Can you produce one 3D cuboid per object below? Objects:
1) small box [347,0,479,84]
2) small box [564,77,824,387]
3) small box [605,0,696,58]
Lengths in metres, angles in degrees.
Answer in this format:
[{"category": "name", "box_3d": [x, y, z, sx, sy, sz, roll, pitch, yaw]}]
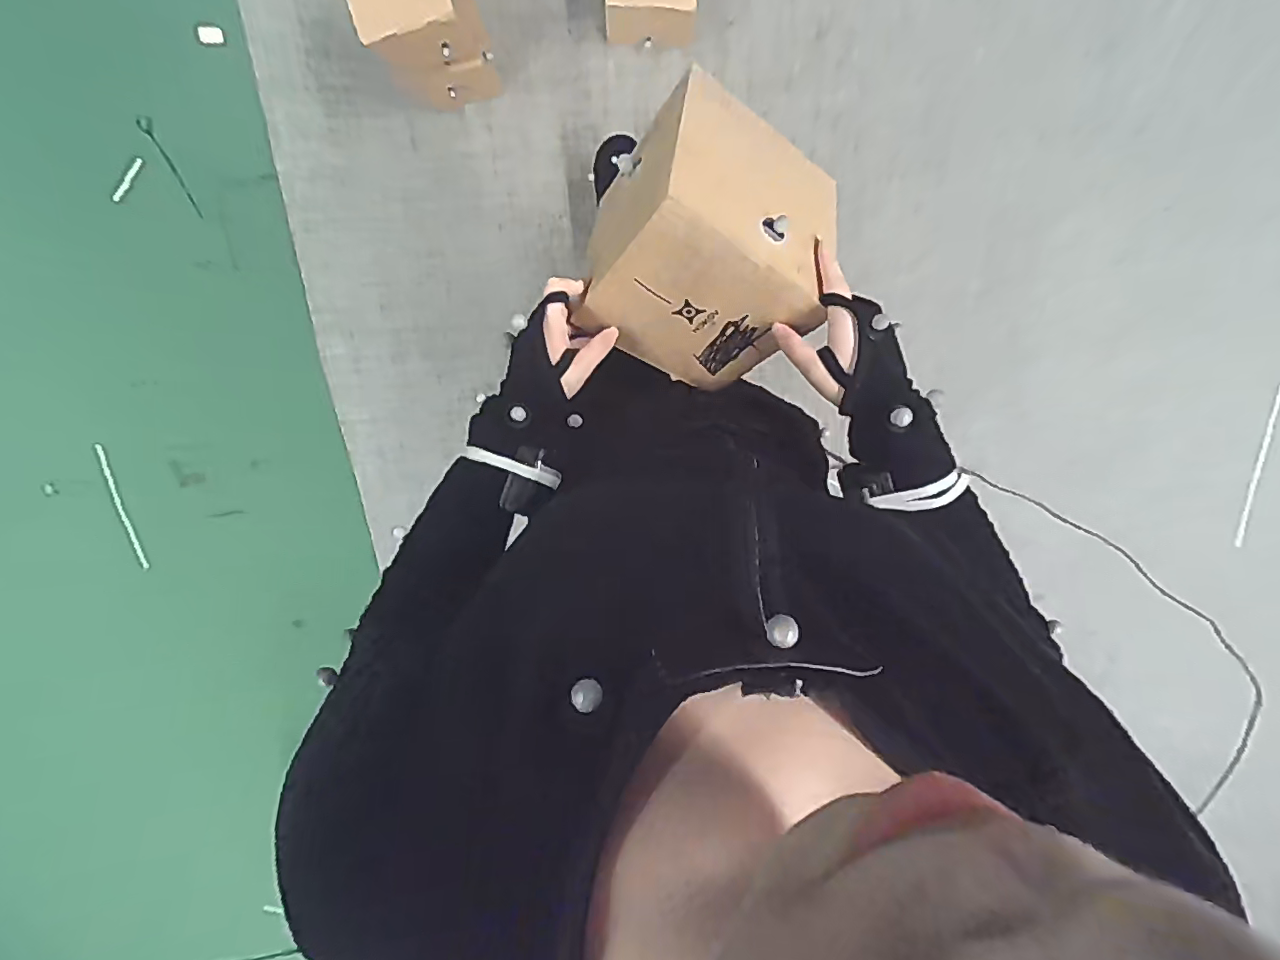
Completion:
[{"category": "small box", "box_3d": [-0.405, -0.838, 0.957, 0.168, 0.176, 0.179, -14, 106, 3]}, {"category": "small box", "box_3d": [0.055, -0.223, 0.513, 0.179, 0.176, 0.168, 23, 151, -25]}, {"category": "small box", "box_3d": [0.021, -0.986, 1.090, 0.179, 0.176, 0.168, 3, 107, -2]}]
